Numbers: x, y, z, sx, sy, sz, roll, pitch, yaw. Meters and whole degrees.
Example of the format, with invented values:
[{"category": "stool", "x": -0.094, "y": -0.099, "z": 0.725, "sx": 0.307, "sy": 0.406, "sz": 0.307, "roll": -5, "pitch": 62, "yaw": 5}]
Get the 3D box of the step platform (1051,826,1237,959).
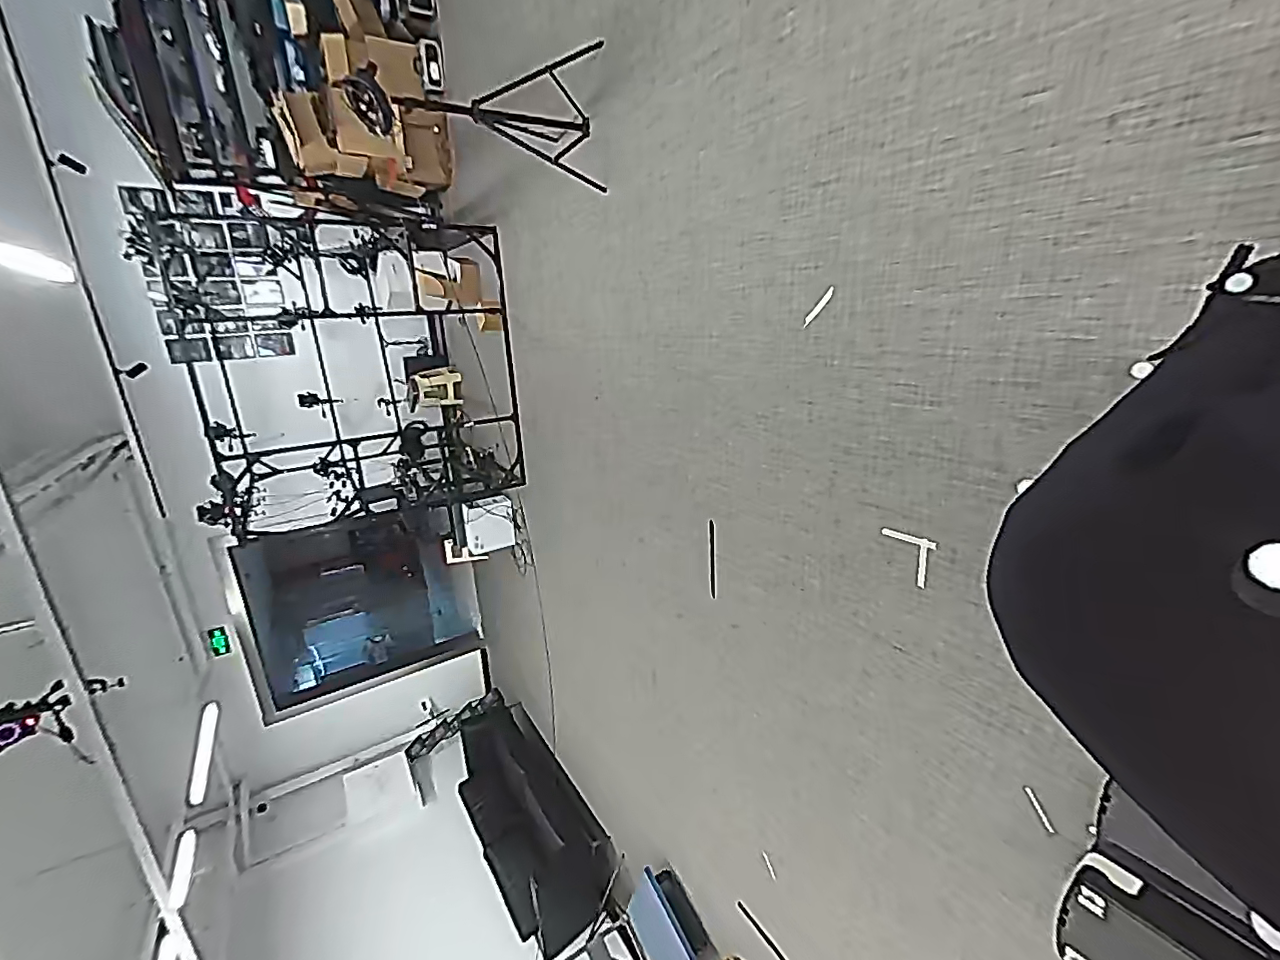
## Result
[{"category": "step platform", "x": 1.262, "y": 1.087, "z": 1.099, "sx": 0.684, "sy": 0.204, "sz": 0.286, "roll": 24, "pitch": 121, "yaw": 56}]
